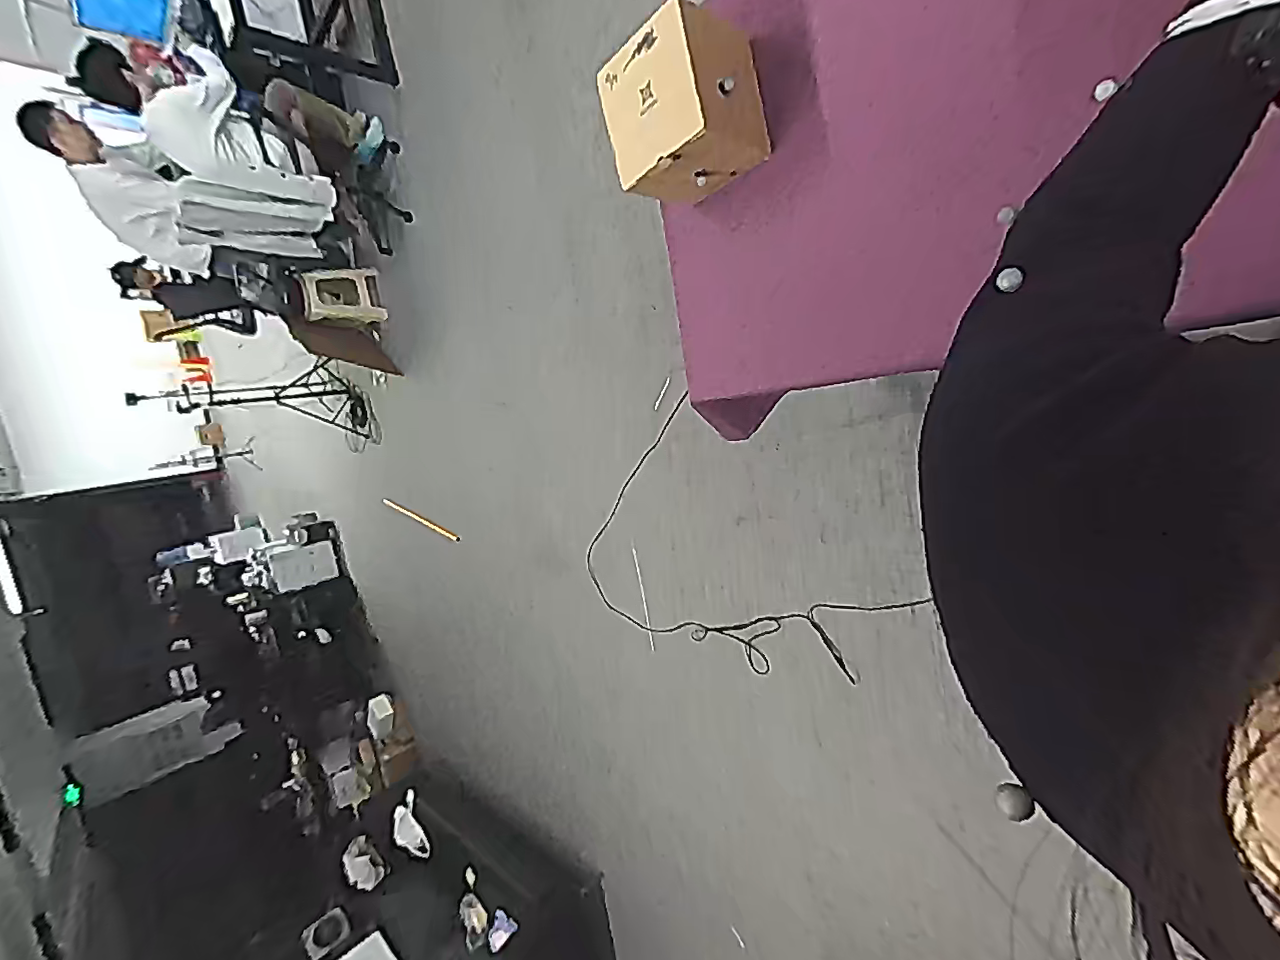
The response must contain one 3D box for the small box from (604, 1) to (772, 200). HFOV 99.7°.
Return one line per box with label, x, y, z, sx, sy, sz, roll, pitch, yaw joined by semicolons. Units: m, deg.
small box;0.077;-0.543;0.810;0.168;0.176;0.179;-9;96;46
